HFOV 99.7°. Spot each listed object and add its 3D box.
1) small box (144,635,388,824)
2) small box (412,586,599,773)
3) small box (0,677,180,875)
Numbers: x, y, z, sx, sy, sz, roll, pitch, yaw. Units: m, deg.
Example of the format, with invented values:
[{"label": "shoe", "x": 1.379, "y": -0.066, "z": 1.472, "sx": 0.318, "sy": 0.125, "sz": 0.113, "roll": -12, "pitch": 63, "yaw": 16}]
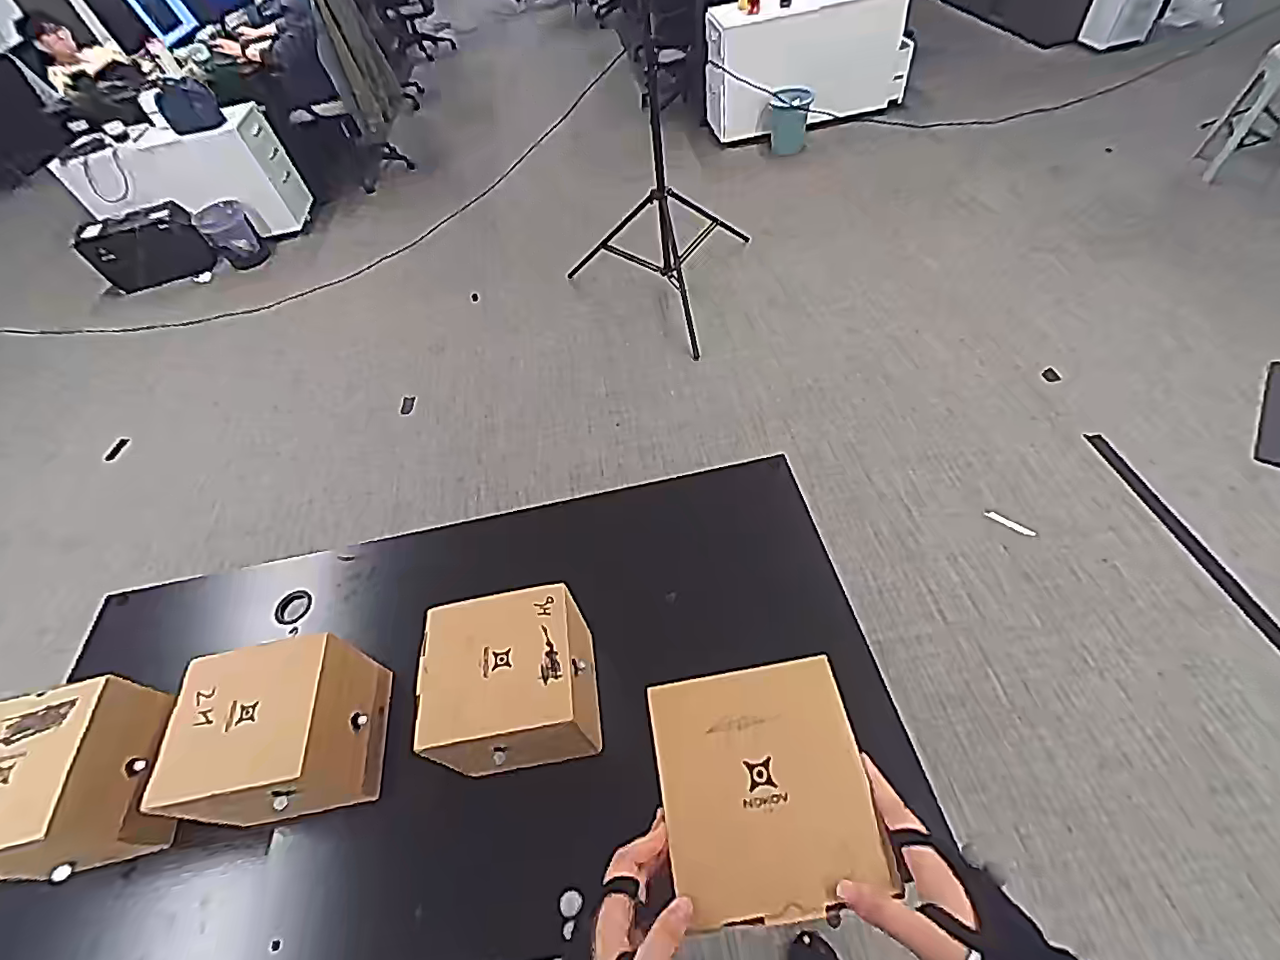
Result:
[{"label": "small box", "x": -0.446, "y": 0.319, "z": 0.685, "sx": 0.179, "sy": 0.176, "sz": 0.168, "roll": -12, "pitch": 52, "yaw": -1}, {"label": "small box", "x": -0.160, "y": 0.259, "z": 0.688, "sx": 0.179, "sy": 0.176, "sz": 0.168, "roll": -11, "pitch": 53, "yaw": 1}, {"label": "small box", "x": -0.707, "y": 0.377, "z": 0.683, "sx": 0.168, "sy": 0.176, "sz": 0.179, "roll": -14, "pitch": 53, "yaw": -1}]
